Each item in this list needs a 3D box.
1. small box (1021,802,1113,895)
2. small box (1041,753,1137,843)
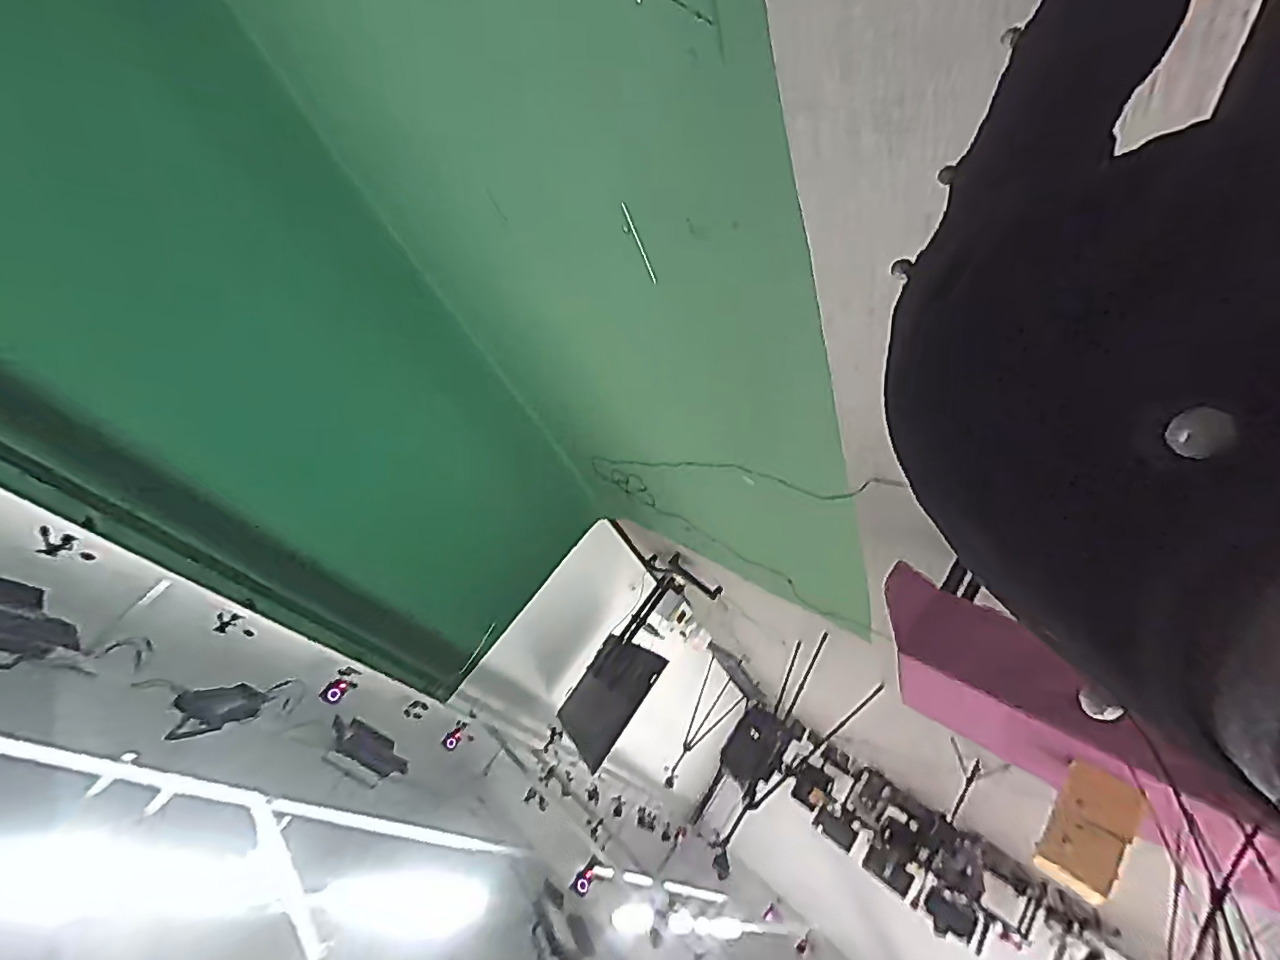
[{"bbox_3d":[1.288,1.106,1.631,0.168,0.176,0.179,26,159,40],"label":"small box"},{"bbox_3d":[1.391,0.988,1.678,0.179,0.176,0.168,25,158,38],"label":"small box"}]
